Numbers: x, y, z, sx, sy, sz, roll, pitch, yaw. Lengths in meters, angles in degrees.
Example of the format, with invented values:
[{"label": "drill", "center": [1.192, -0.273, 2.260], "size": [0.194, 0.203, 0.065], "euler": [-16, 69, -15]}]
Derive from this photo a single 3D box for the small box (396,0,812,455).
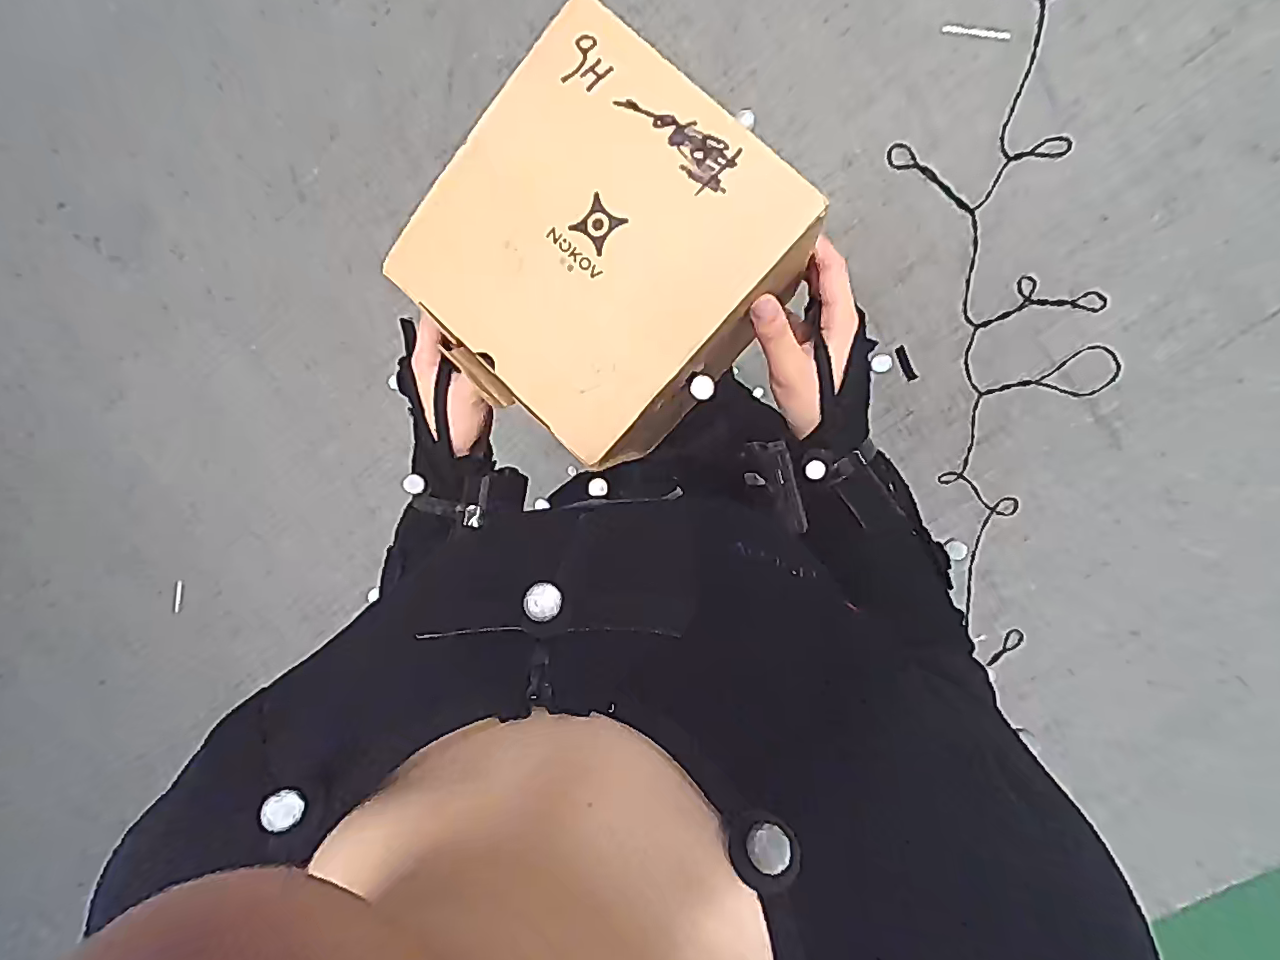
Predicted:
[{"label": "small box", "center": [-0.011, -0.136, 0.363], "size": [0.168, 0.176, 0.179], "euler": [44, 102, 4]}]
